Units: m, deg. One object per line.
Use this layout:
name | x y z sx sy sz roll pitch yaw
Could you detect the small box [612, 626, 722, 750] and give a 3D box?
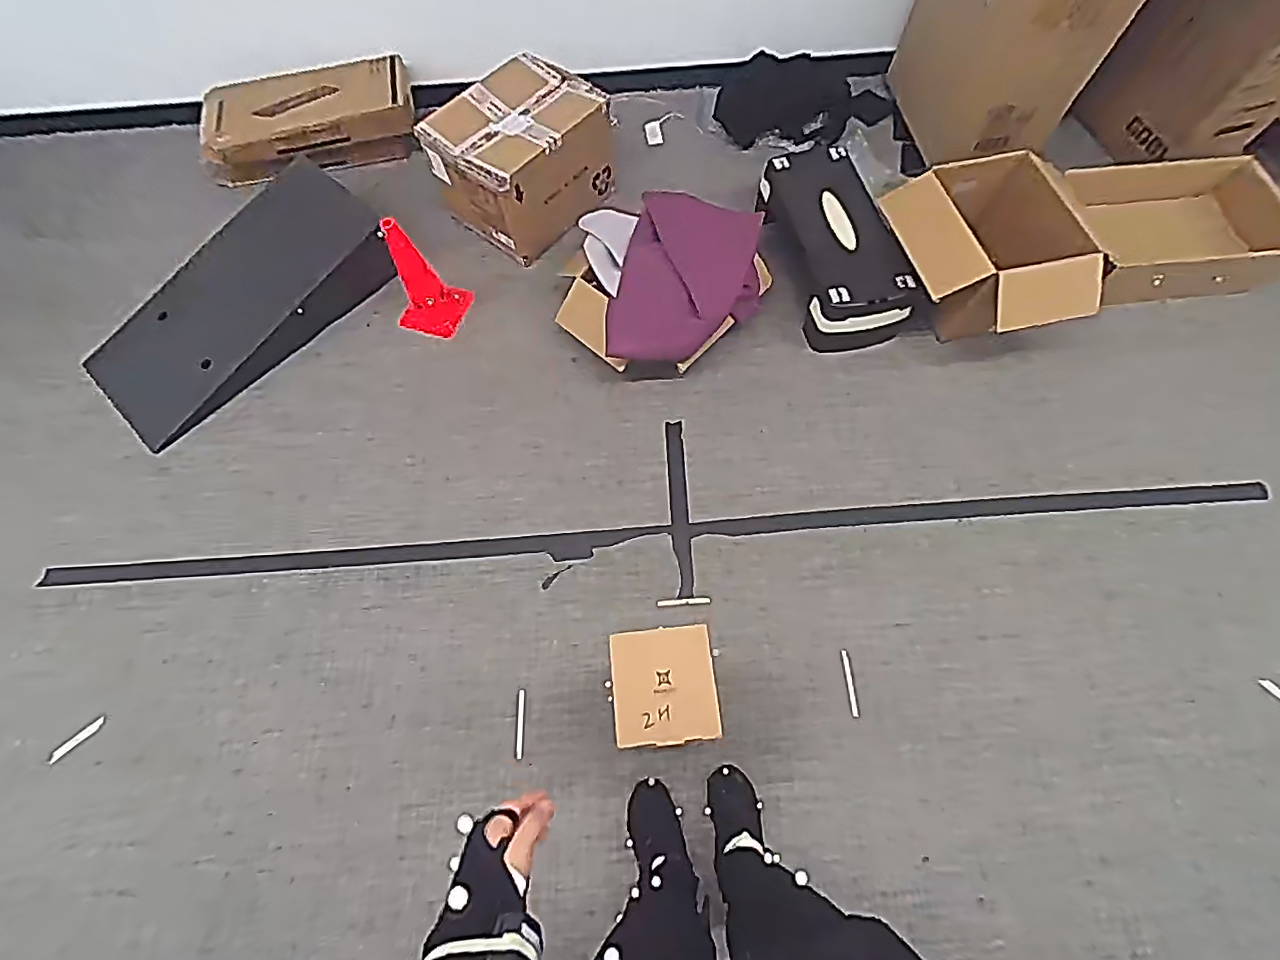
small box | 0.043 0.361 0.935 0.168 0.176 0.179 -6 66 1
